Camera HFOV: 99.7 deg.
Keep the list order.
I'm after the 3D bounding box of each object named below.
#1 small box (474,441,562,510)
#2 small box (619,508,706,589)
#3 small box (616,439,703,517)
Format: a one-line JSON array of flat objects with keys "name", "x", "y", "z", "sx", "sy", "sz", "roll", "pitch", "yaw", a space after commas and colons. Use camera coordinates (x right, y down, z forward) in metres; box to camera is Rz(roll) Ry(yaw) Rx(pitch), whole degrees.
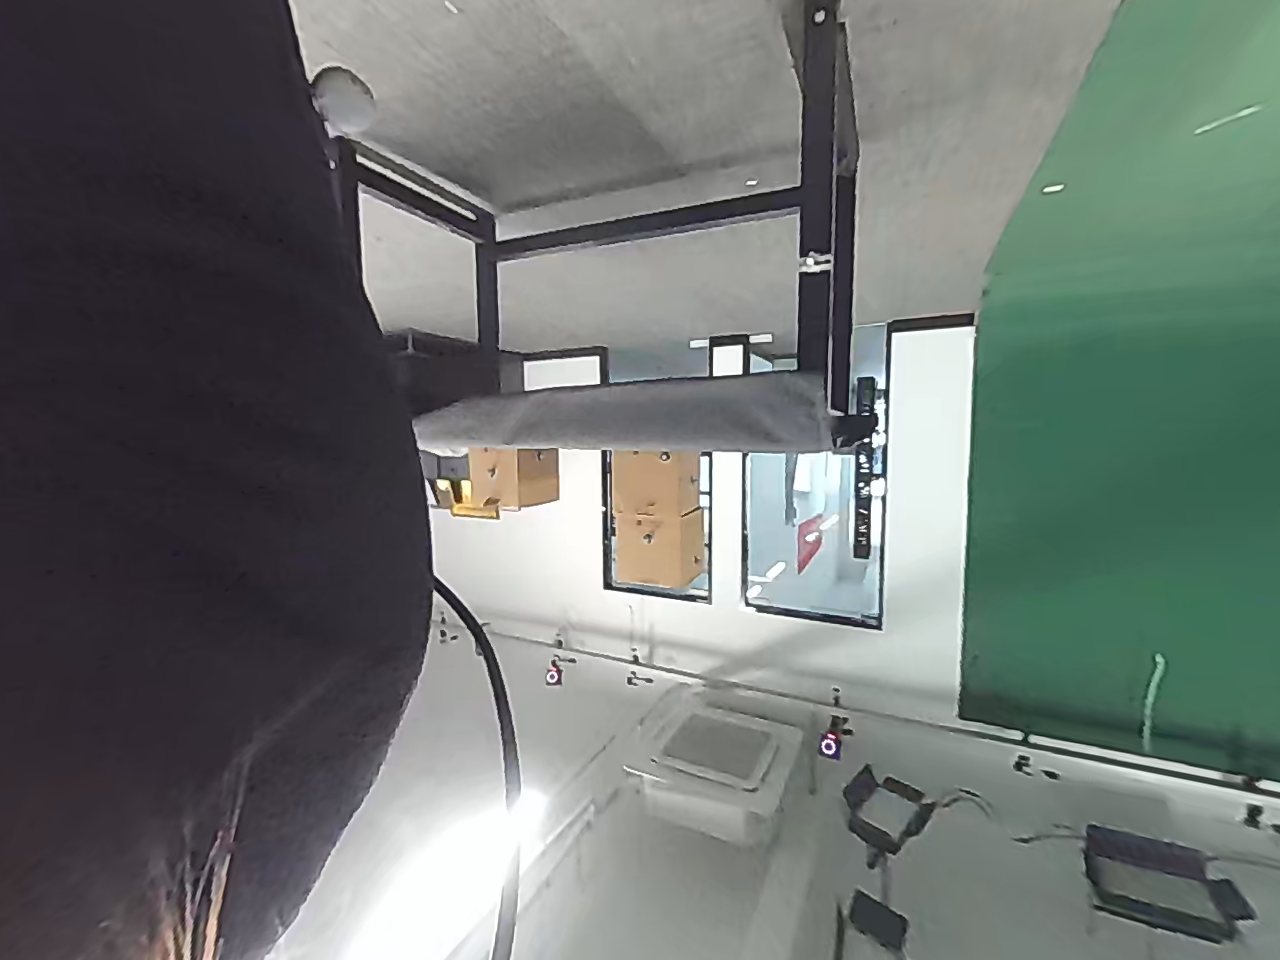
[{"name": "small box", "x": -0.327, "y": -0.016, "z": 1.445, "sx": 0.168, "sy": 0.176, "sz": 0.179, "roll": 2, "pitch": -175, "yaw": 28}, {"name": "small box", "x": 0.059, "y": 0.154, "z": 1.316, "sx": 0.168, "sy": 0.176, "sz": 0.179, "roll": 1, "pitch": -175, "yaw": 24}, {"name": "small box", "x": 0.048, "y": -0.009, "z": 1.288, "sx": 0.168, "sy": 0.176, "sz": 0.179, "roll": 1, "pitch": -174, "yaw": 22}]
